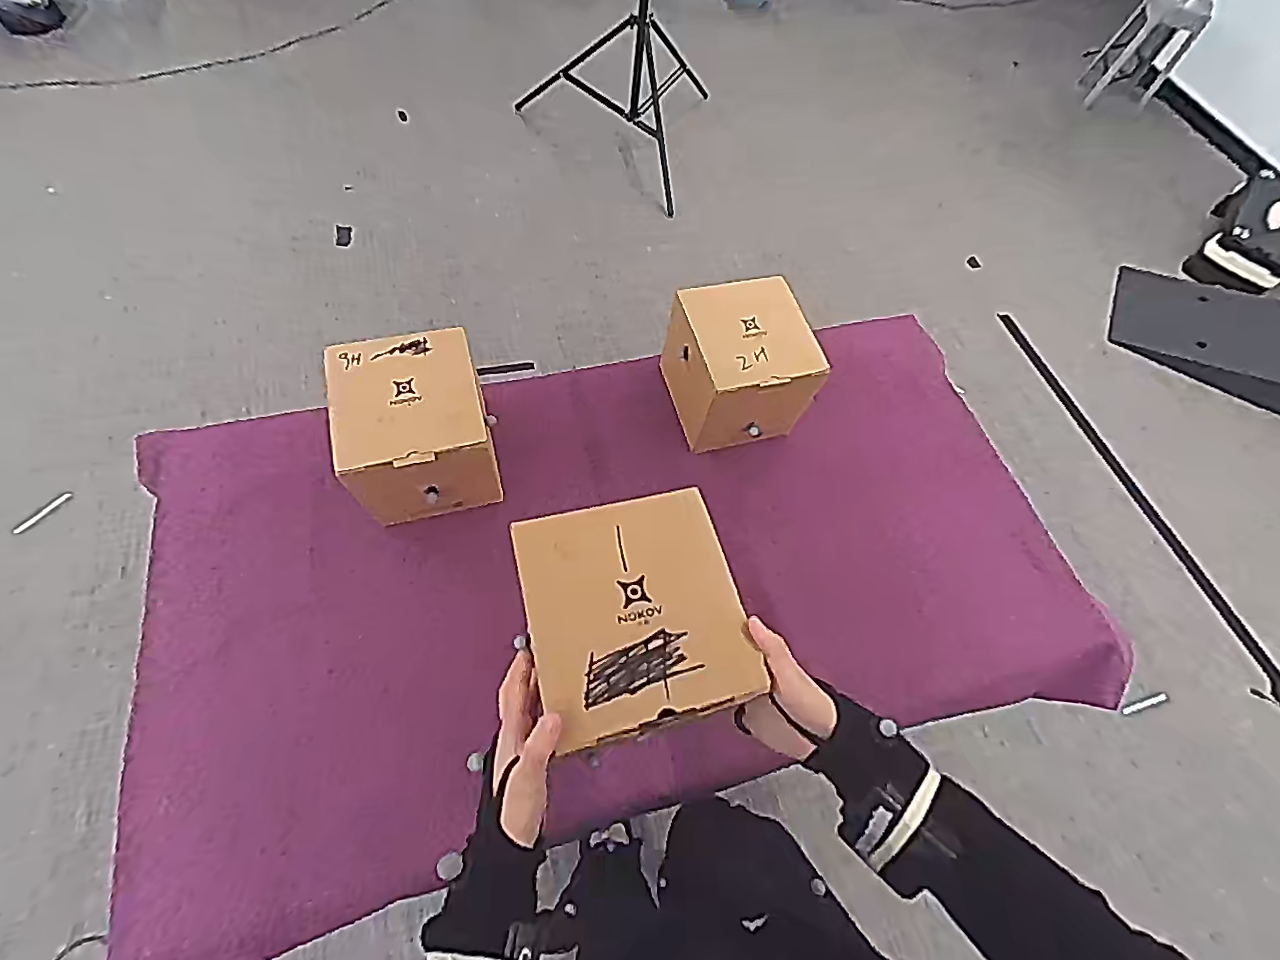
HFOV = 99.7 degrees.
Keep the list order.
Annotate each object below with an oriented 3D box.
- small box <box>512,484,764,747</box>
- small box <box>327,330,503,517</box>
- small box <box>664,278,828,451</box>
[{"bbox_3d":[-0.014,0.130,0.489,0.168,0.176,0.179,-10,62,-14],"label":"small box"},{"bbox_3d":[-0.282,-0.064,0.705,0.168,0.176,0.179,-12,68,-13],"label":"small box"},{"bbox_3d":[0.142,-0.167,0.804,0.168,0.176,0.179,-12,67,-11],"label":"small box"}]
